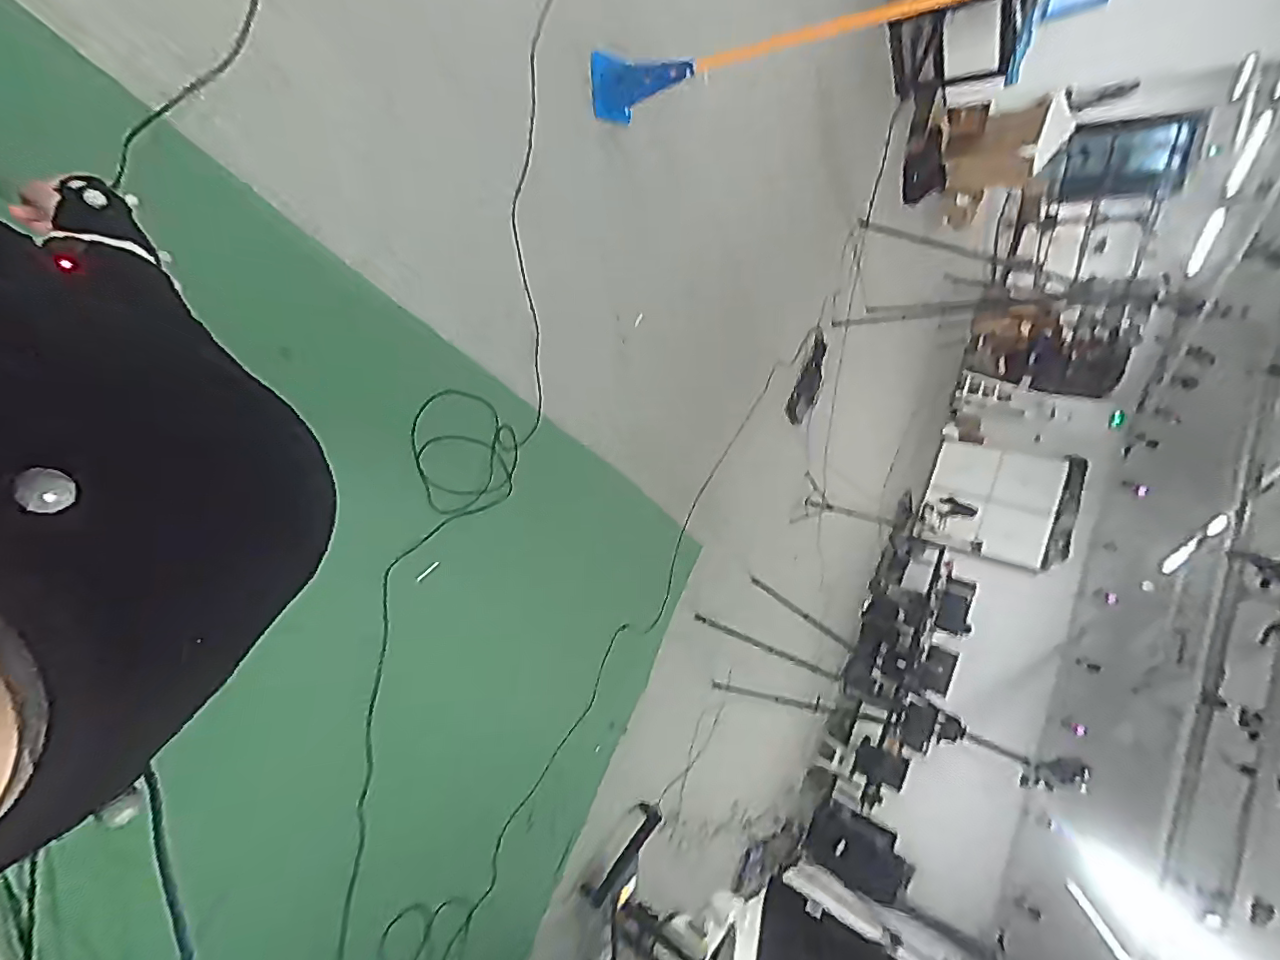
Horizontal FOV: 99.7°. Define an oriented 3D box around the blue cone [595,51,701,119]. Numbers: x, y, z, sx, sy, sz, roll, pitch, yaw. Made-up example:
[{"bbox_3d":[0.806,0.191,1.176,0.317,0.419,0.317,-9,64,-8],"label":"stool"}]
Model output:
[{"bbox_3d":[0.039,-1.377,1.841,0.193,0.380,0.192,-32,127,-46],"label":"blue cone"}]
